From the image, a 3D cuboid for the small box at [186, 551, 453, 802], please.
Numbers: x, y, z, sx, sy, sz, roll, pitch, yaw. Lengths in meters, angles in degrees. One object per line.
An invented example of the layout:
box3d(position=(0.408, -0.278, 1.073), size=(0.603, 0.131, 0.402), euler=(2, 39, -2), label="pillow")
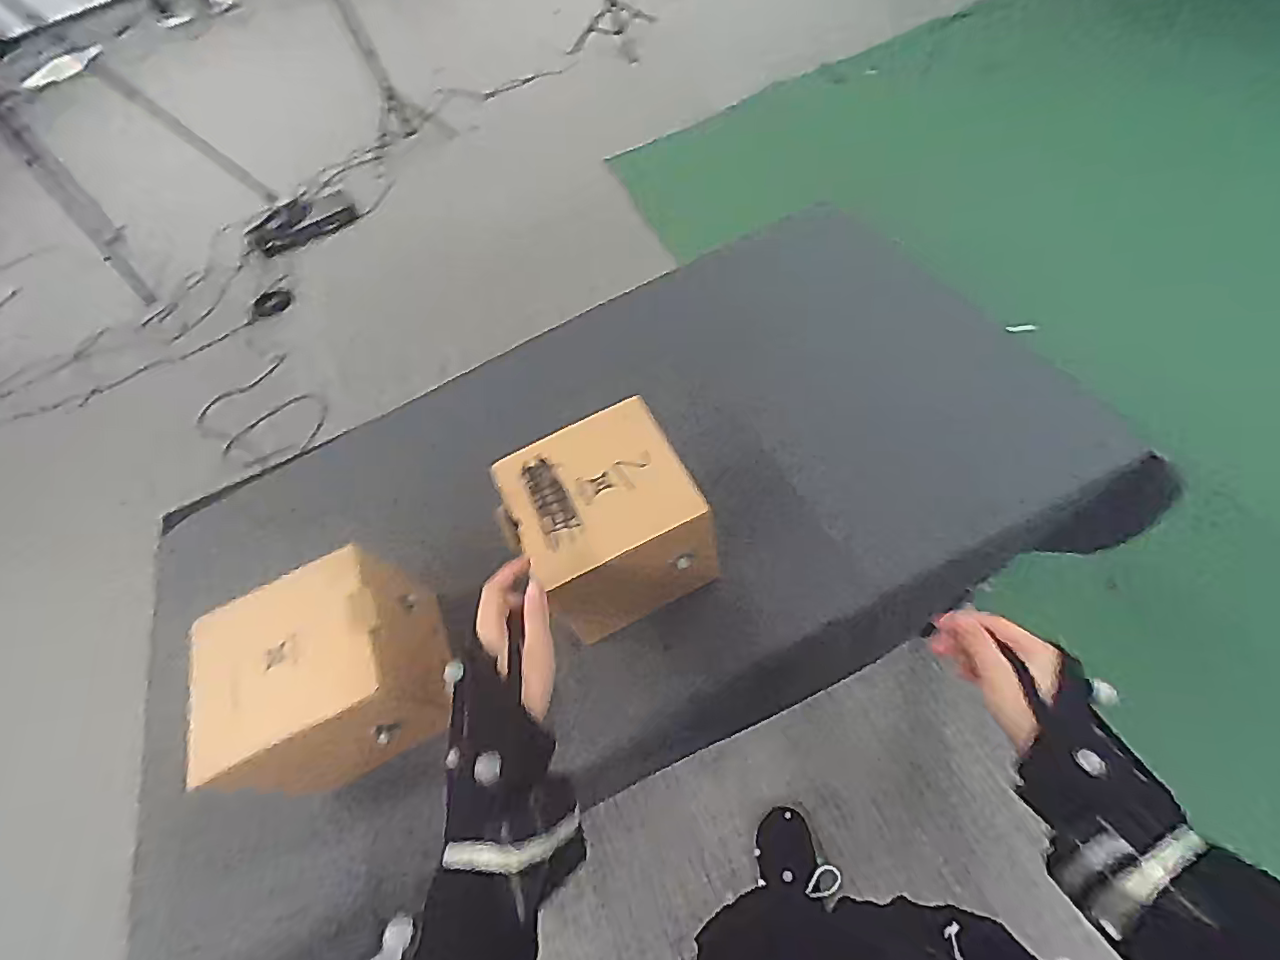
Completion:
box3d(position=(-0.316, 0.208, 0.563), size=(0.179, 0.176, 0.168), euler=(-28, 56, -5), label="small box")
